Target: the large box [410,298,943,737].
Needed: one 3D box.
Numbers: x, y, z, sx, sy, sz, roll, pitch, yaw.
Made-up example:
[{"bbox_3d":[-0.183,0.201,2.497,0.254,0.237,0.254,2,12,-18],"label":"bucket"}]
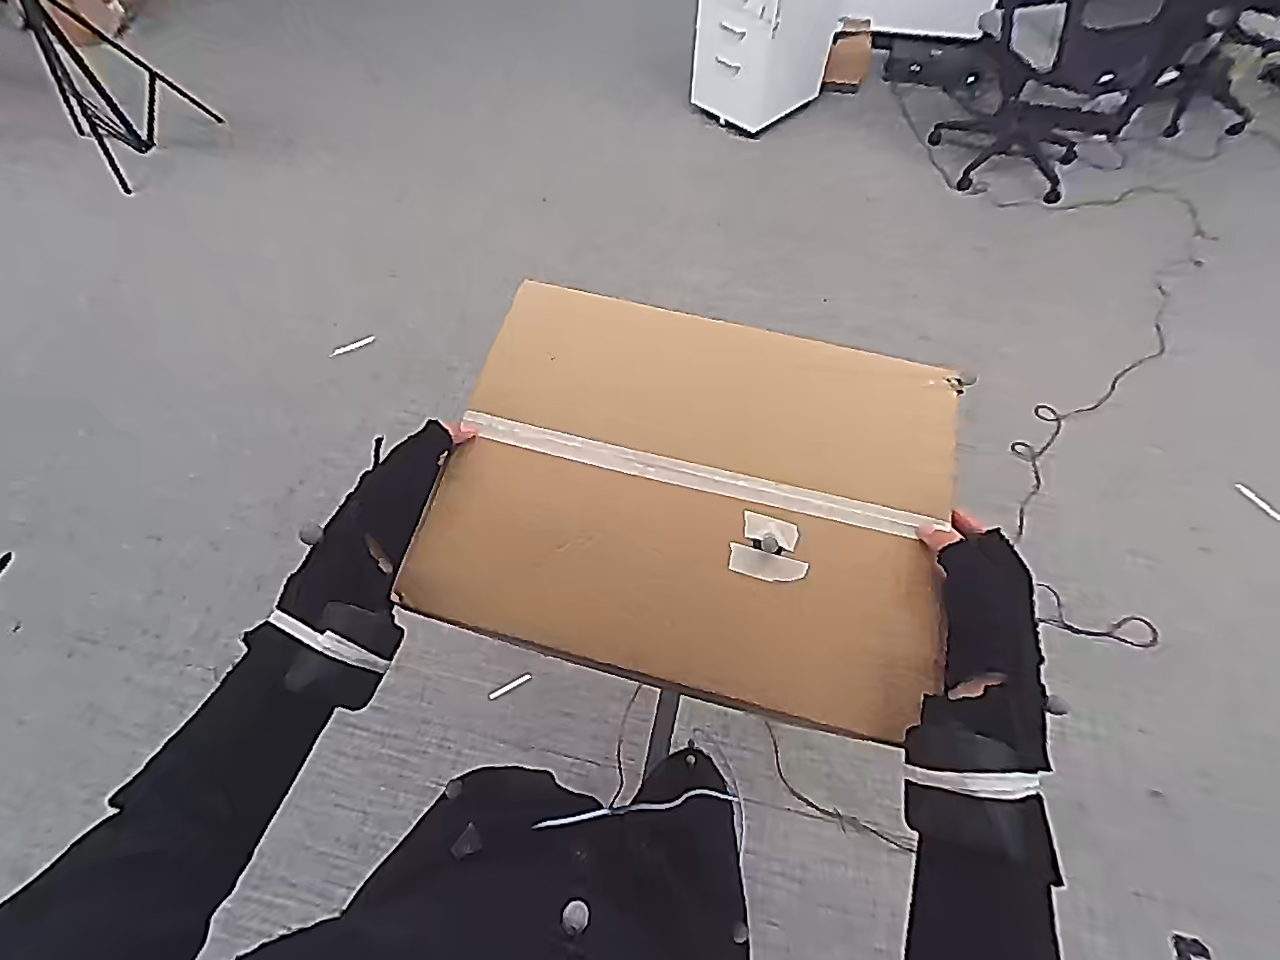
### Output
[{"bbox_3d":[0.044,0.057,0.591,0.408,0.320,0.320,14,70,4],"label":"large box"}]
